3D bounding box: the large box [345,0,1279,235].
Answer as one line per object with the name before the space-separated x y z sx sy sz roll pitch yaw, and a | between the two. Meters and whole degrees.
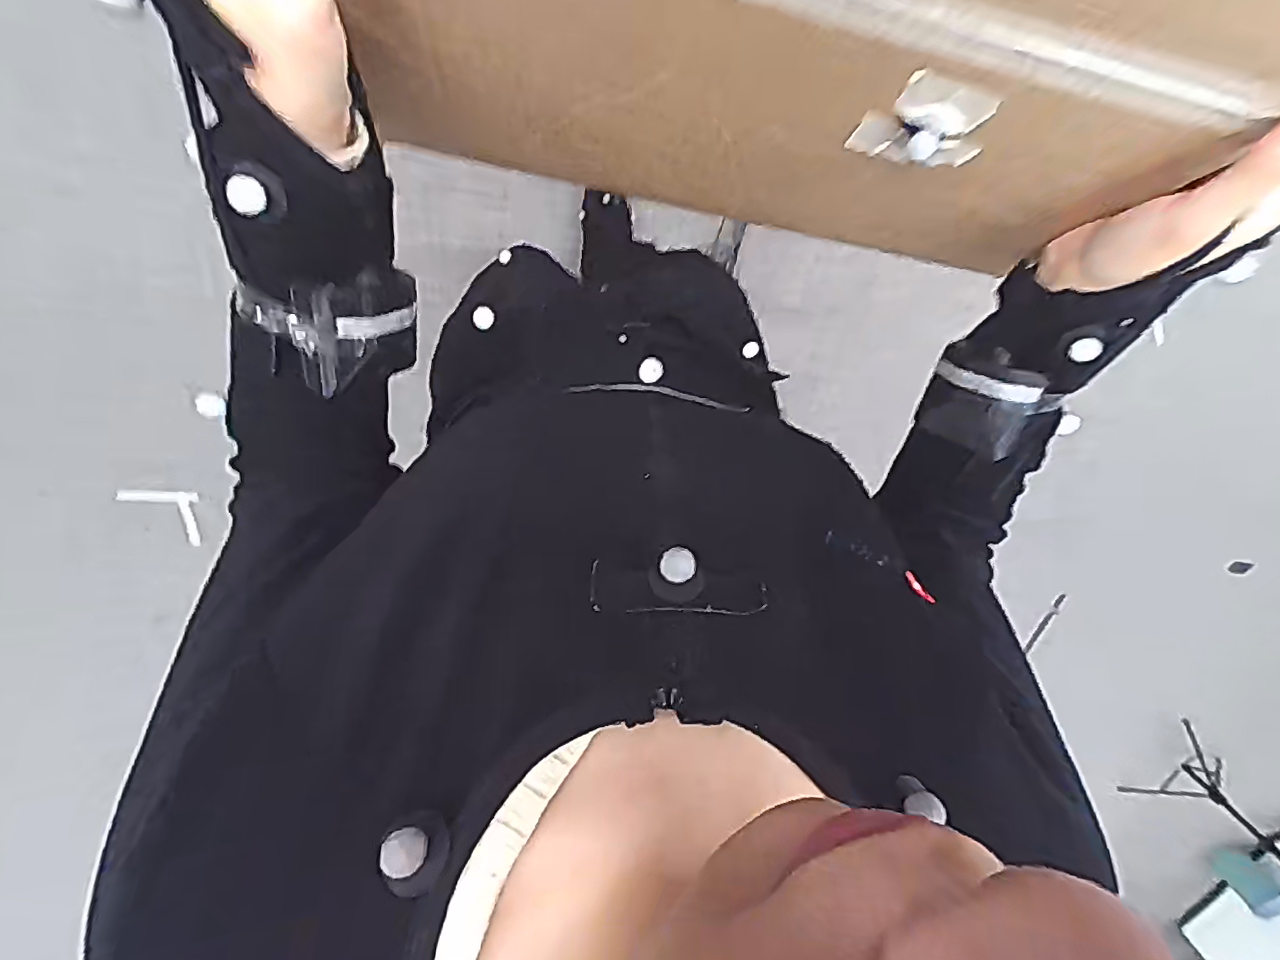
large box | 0.096 -0.335 0.180 0.408 0.320 0.320 7 87 -8
